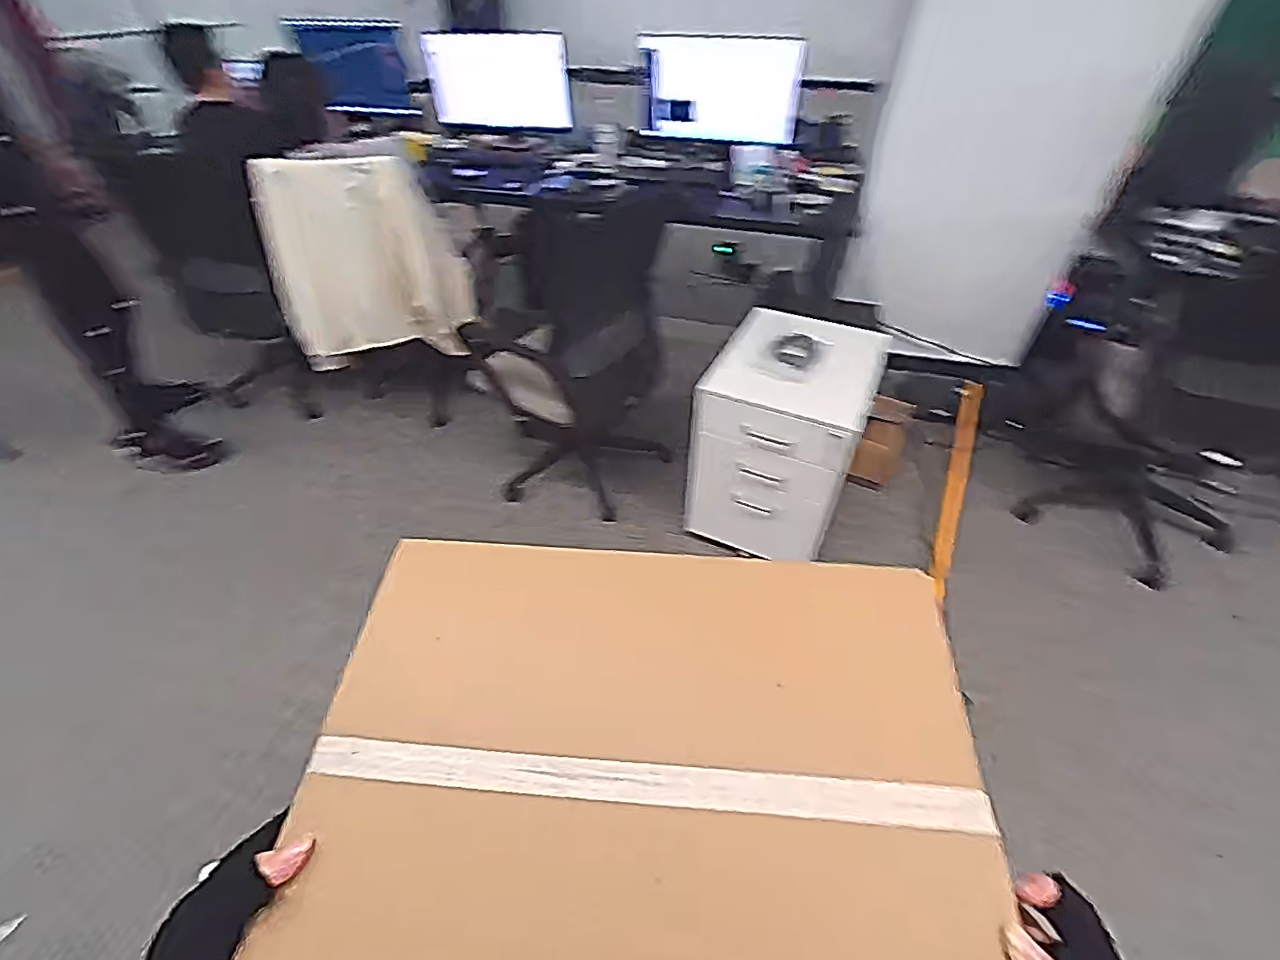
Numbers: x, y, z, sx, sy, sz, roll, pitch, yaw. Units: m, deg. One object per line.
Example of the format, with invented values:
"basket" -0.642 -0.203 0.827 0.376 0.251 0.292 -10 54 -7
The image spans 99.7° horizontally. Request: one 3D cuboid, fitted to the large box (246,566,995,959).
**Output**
"large box" -0.002 0.284 0.448 0.408 0.320 0.320 2 52 4
